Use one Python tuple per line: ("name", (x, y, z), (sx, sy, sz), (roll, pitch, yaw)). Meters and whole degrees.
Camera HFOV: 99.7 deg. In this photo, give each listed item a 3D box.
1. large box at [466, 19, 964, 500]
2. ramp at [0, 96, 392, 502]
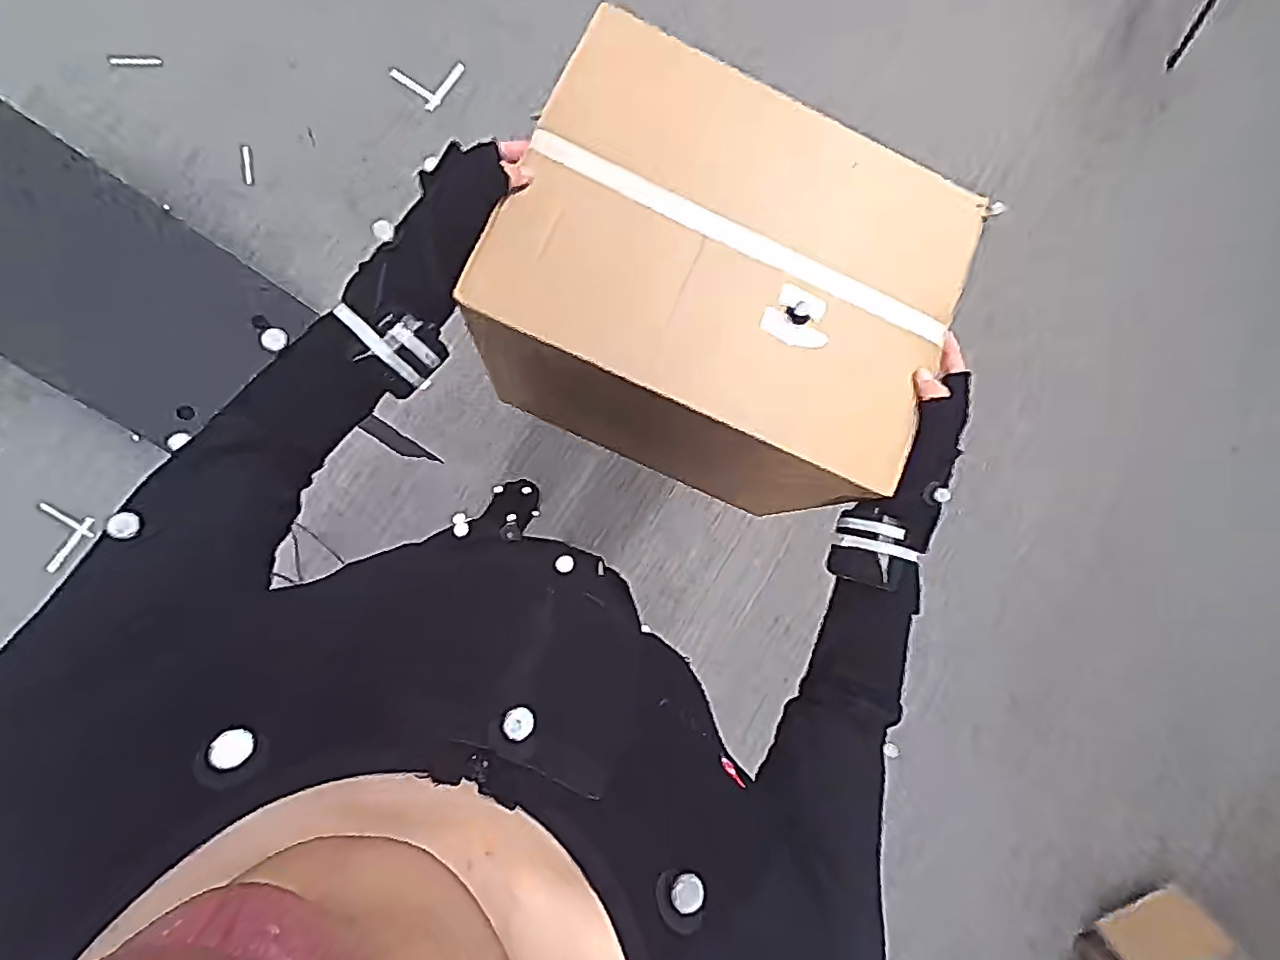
("large box", (0.064, -0.200, 0.638), (0.408, 0.320, 0.320), (23, 81, -5))
("ramp", (-1.193, -0.414, 1.332), (0.991, 0.206, 0.509), (32, 80, -4))
